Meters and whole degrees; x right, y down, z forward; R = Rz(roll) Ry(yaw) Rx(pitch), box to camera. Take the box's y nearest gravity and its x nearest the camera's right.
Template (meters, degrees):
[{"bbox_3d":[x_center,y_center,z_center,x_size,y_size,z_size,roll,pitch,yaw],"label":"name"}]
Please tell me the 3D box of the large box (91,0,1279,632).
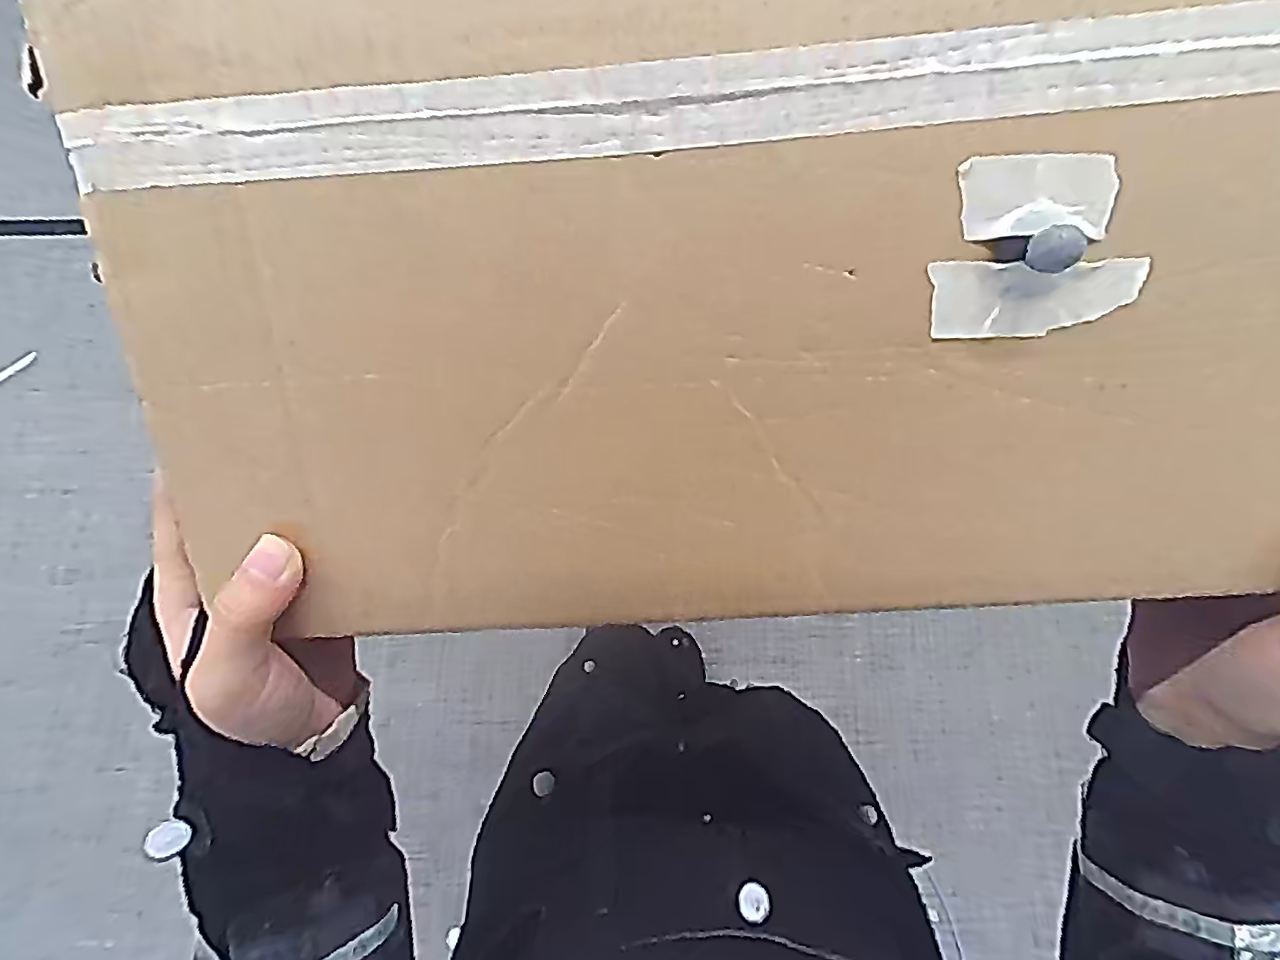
[{"bbox_3d":[0.041,-0.140,0.307,0.408,0.320,0.320,-4,104,1],"label":"large box"}]
